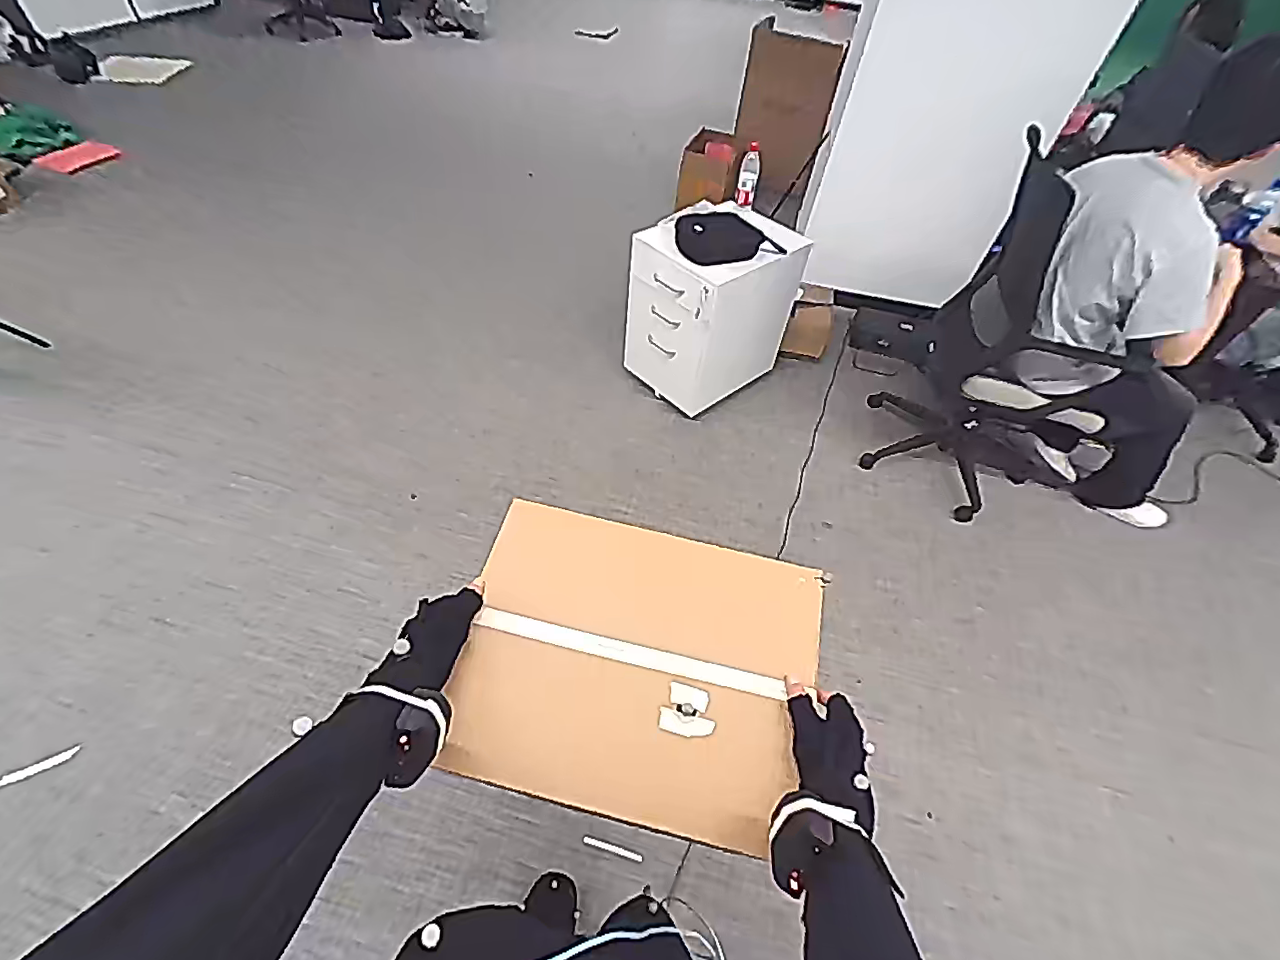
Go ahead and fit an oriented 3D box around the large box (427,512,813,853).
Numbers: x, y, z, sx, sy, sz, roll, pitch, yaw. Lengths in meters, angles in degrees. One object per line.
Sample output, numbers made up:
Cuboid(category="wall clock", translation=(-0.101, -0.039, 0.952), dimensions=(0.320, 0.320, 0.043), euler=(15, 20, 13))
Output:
Cuboid(category="large box", translation=(-0.013, 0.286, 0.757), dimensions=(0.408, 0.320, 0.320), euler=(13, 59, 3))
